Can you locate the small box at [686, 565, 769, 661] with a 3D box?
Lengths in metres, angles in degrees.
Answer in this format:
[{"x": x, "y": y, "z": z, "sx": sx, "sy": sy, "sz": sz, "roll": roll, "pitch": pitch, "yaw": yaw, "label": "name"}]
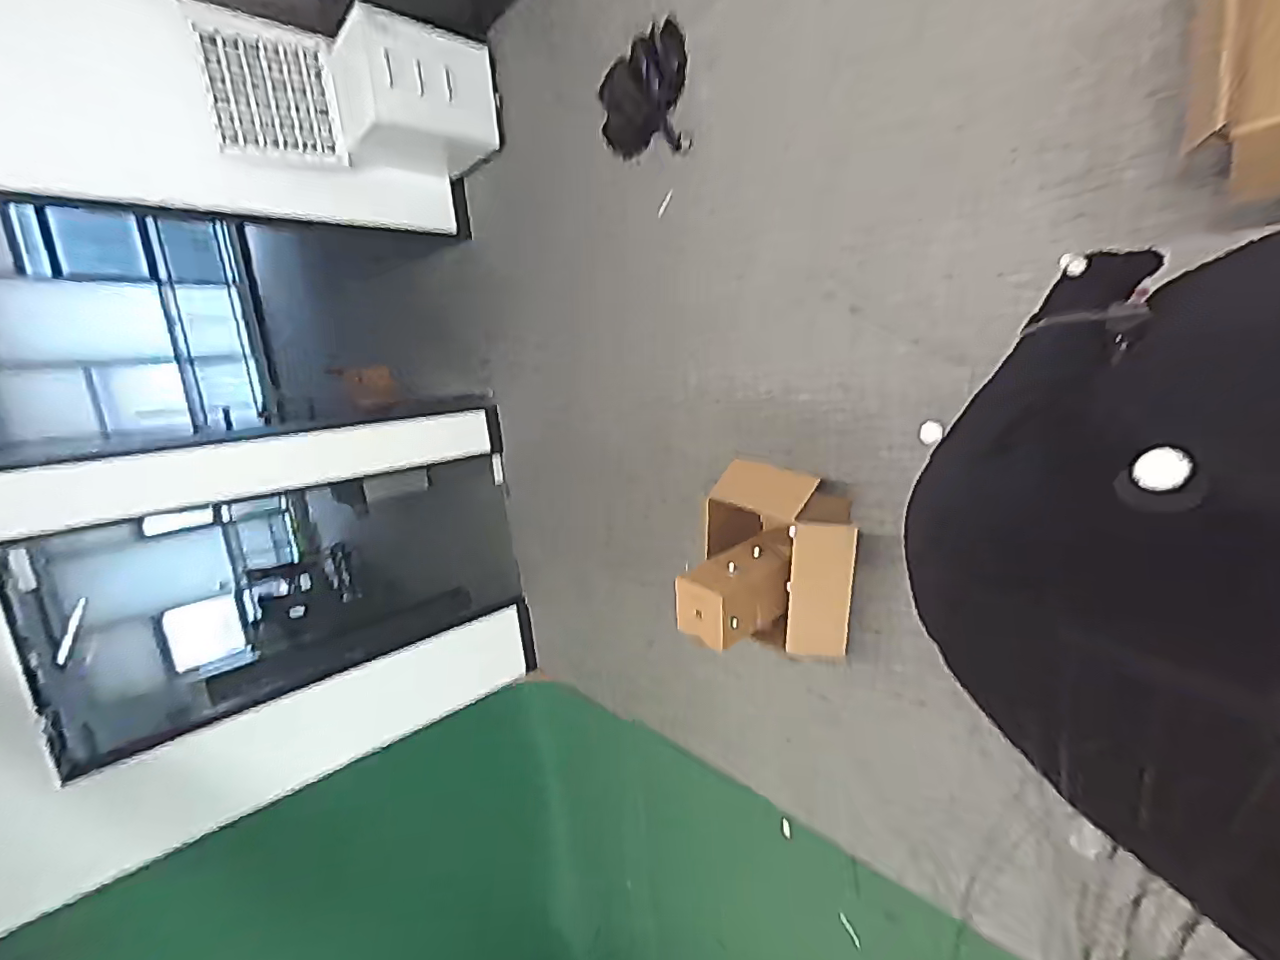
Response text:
[{"x": 0.245, "y": 0.362, "z": 1.506, "sx": 0.168, "sy": 0.176, "sz": 0.179, "roll": 14, "pitch": 114, "yaw": 45, "label": "small box"}]
